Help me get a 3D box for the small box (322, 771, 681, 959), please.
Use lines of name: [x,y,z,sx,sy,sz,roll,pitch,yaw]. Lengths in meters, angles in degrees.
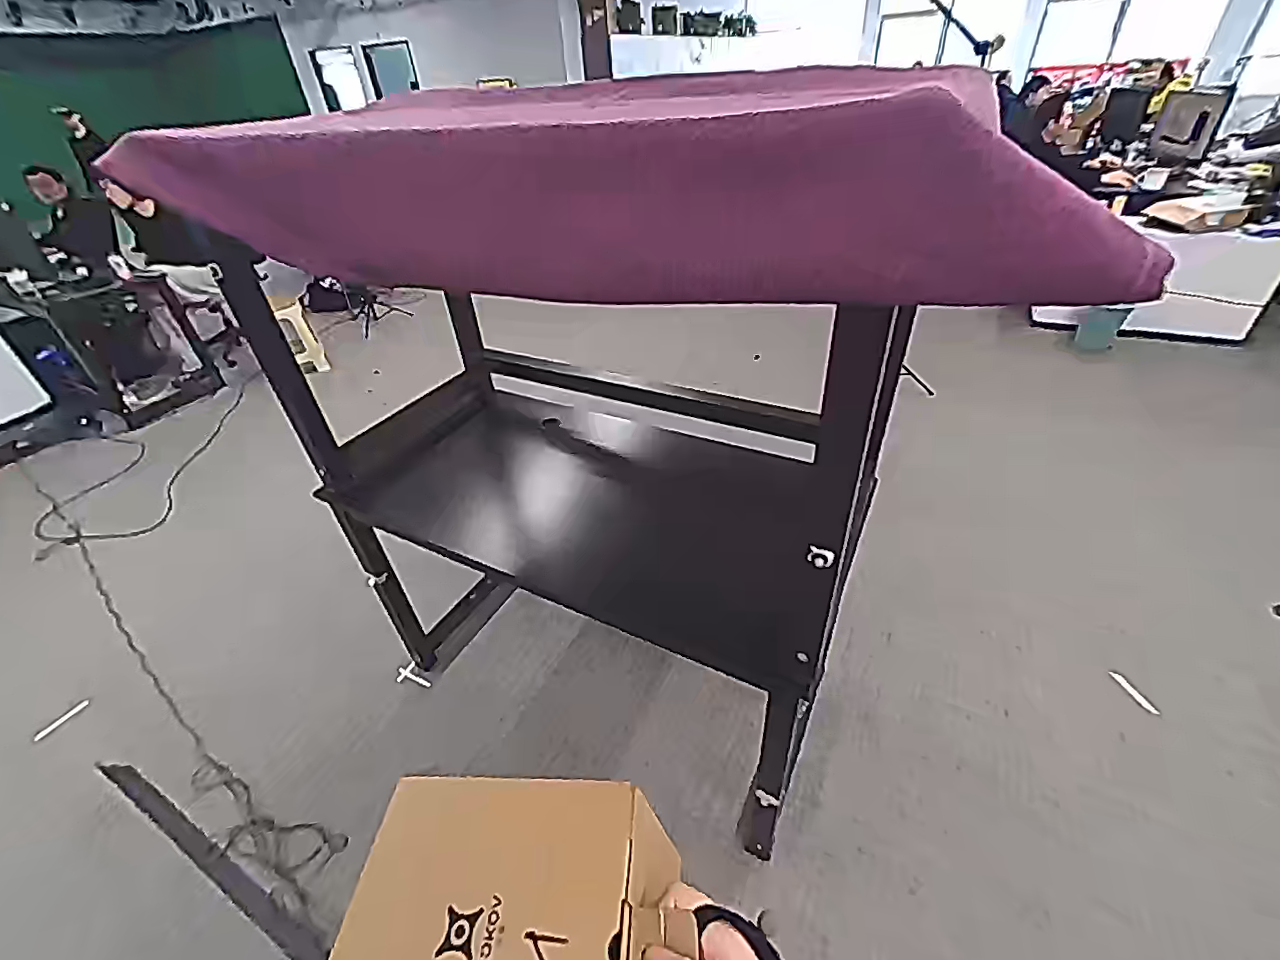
small box: [-0.077,0.308,0.350,0.179,0.176,0.168,-5,42,12]
